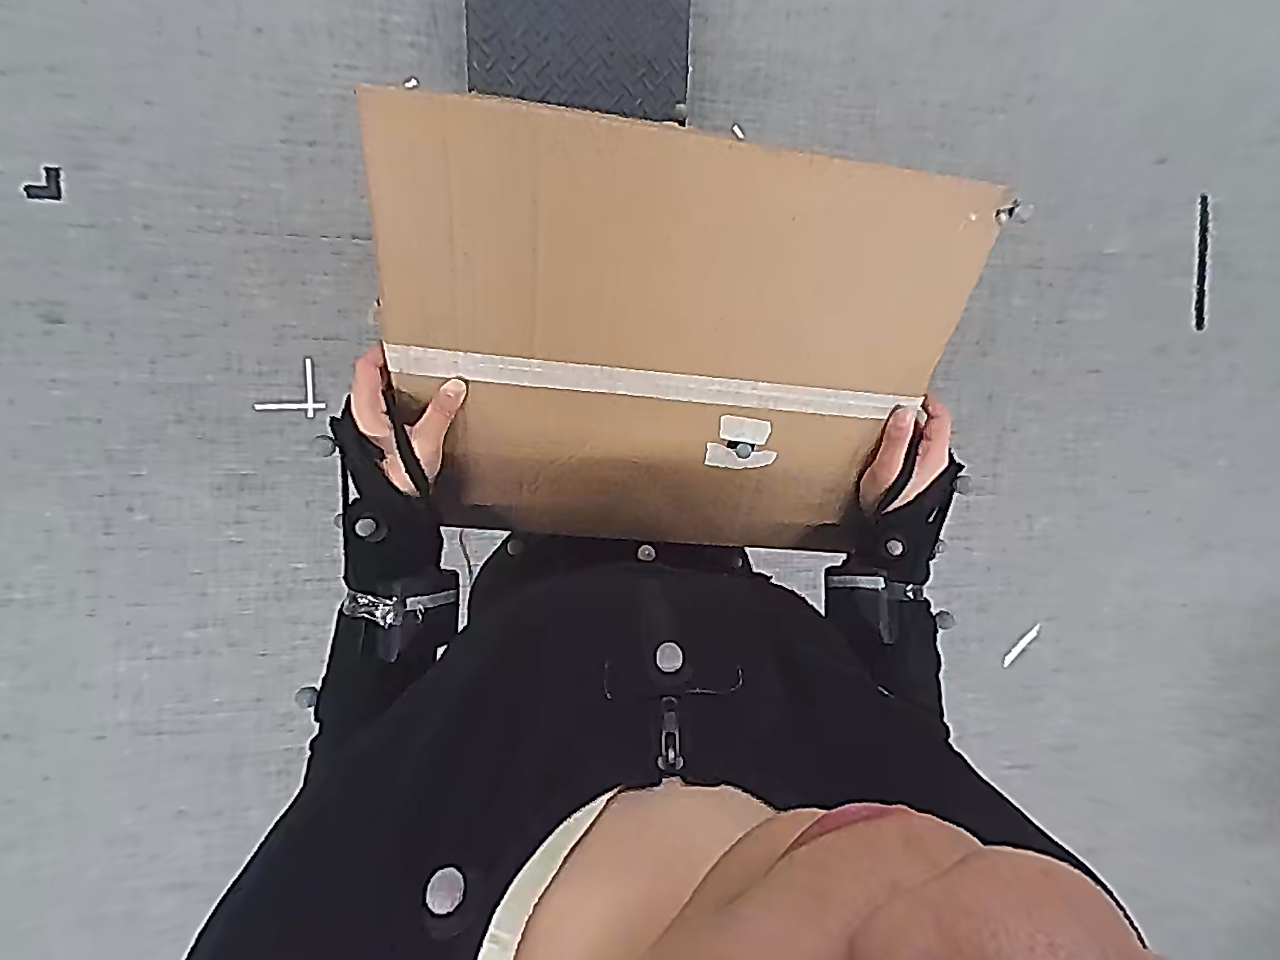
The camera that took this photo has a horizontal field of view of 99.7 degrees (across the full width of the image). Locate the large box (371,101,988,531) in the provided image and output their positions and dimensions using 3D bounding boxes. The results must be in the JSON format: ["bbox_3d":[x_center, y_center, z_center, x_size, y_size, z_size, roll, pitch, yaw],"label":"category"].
[{"bbox_3d":[0.009,-0.168,0.542,0.408,0.320,0.320,3,125,-8],"label":"large box"}]
